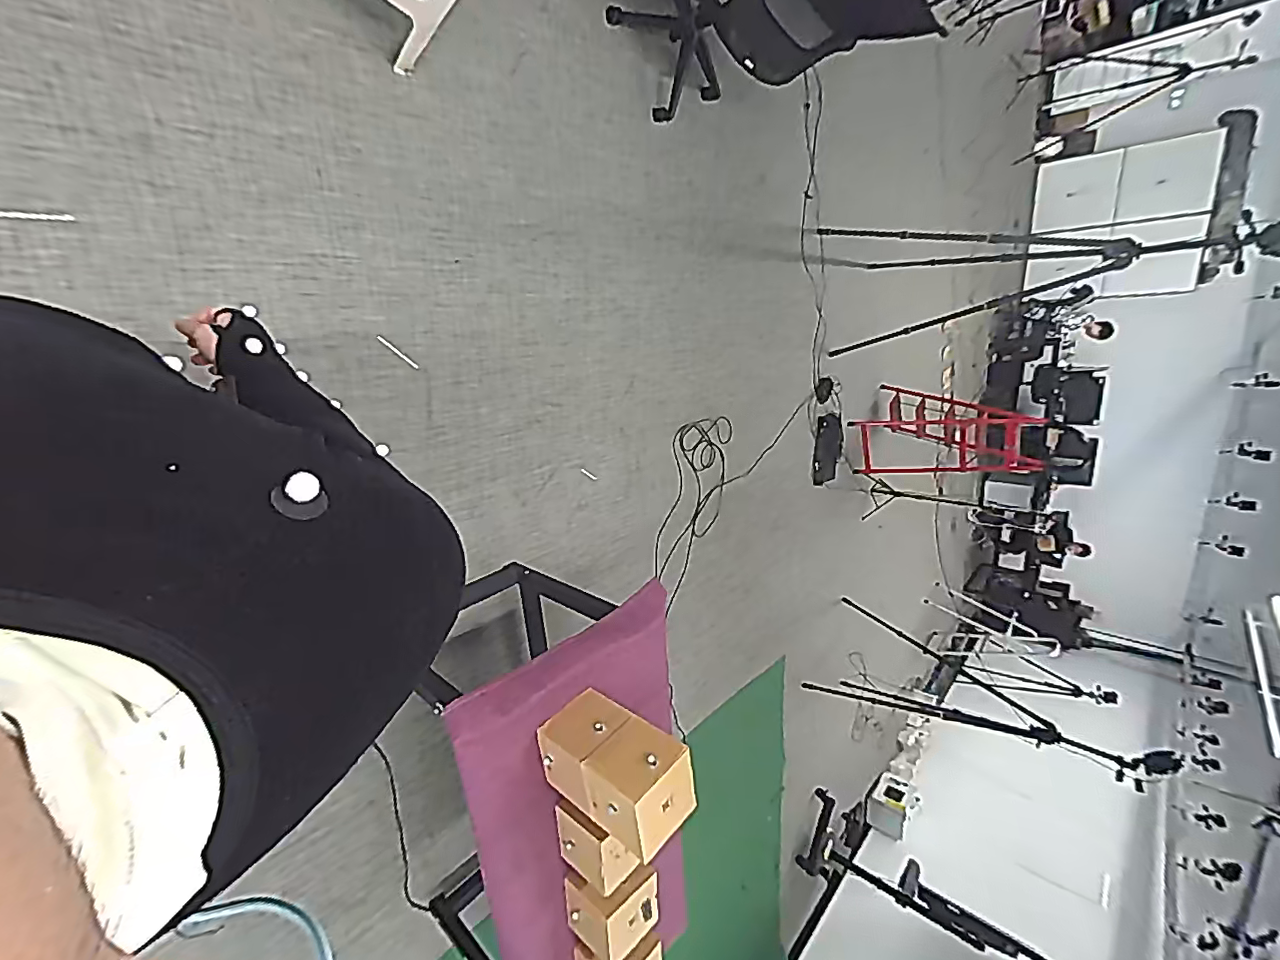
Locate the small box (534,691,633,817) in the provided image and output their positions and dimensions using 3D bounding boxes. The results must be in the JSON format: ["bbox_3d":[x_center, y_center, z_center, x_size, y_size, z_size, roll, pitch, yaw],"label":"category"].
[{"bbox_3d":[-0.125,0.637,1.286,0.179,0.176,0.168,-25,115,-41],"label":"small box"}]

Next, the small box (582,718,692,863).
[{"bbox_3d":[-0.011,0.661,1.174,0.179,0.176,0.168,-25,115,-43],"label":"small box"}]

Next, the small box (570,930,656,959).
[{"bbox_3d":[-0.071,1.335,1.491,0.179,0.176,0.168,-17,110,-45],"label":"small box"}]

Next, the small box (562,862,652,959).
[{"bbox_3d":[-0.086,1.099,1.426,0.179,0.176,0.168,-16,109,-44],"label":"small box"}]

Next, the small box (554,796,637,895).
[{"bbox_3d":[-0.096,0.872,1.367,0.179,0.176,0.168,-18,111,-44],"label":"small box"}]
